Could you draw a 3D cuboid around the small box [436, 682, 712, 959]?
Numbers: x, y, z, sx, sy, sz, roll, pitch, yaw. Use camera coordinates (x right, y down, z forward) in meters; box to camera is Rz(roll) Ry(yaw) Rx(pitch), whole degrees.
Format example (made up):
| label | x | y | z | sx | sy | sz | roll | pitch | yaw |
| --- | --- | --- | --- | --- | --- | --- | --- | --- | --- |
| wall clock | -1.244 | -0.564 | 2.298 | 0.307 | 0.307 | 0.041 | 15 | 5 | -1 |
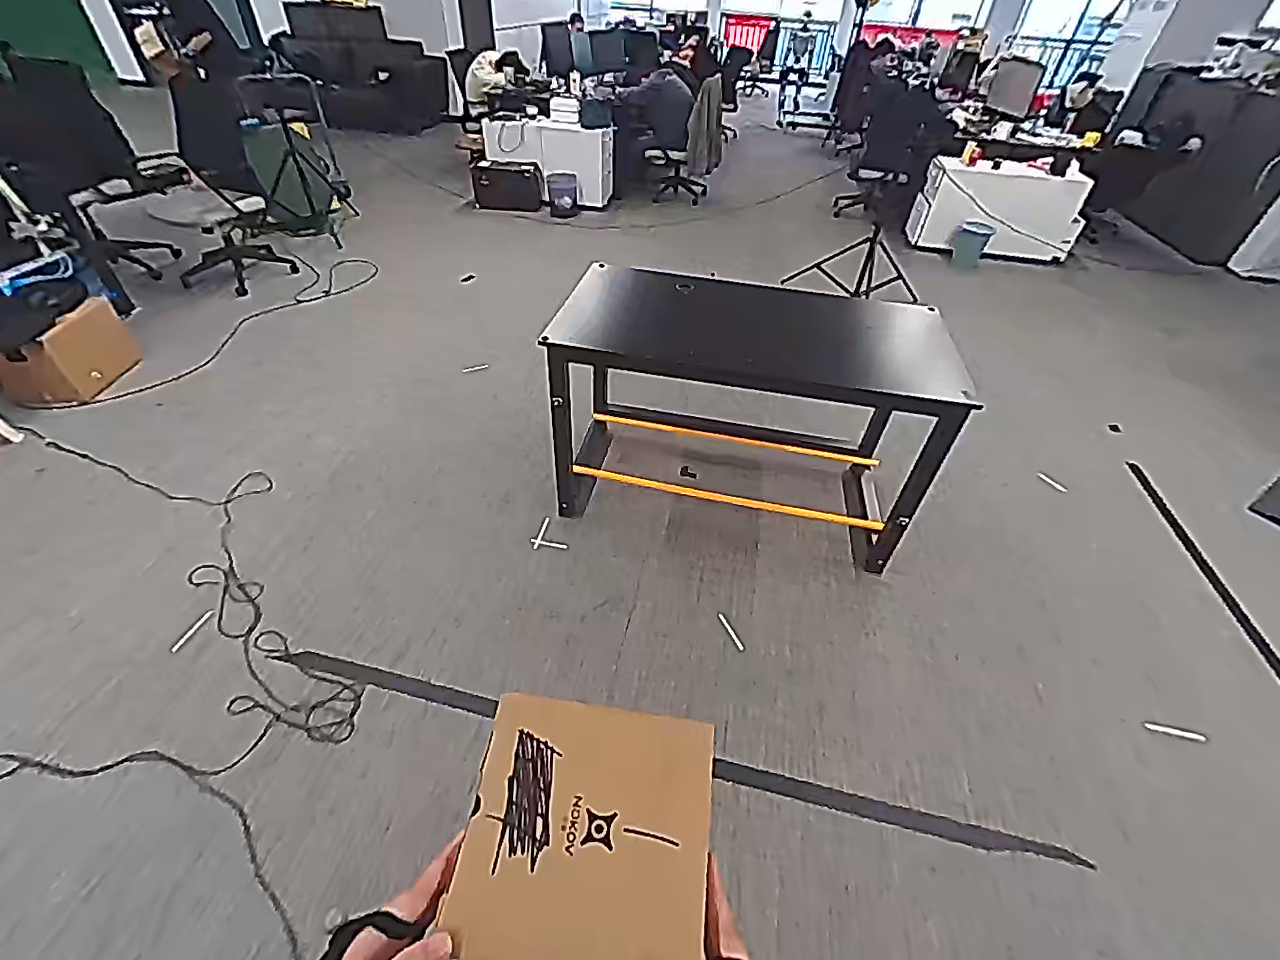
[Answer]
| label | x | y | z | sx | sy | sz | roll | pitch | yaw |
| --- | --- | --- | --- | --- | --- | --- | --- | --- | --- |
| small box | -0.041 | 0.291 | 0.457 | 0.179 | 0.176 | 0.168 | 8 | 51 | 2 |
